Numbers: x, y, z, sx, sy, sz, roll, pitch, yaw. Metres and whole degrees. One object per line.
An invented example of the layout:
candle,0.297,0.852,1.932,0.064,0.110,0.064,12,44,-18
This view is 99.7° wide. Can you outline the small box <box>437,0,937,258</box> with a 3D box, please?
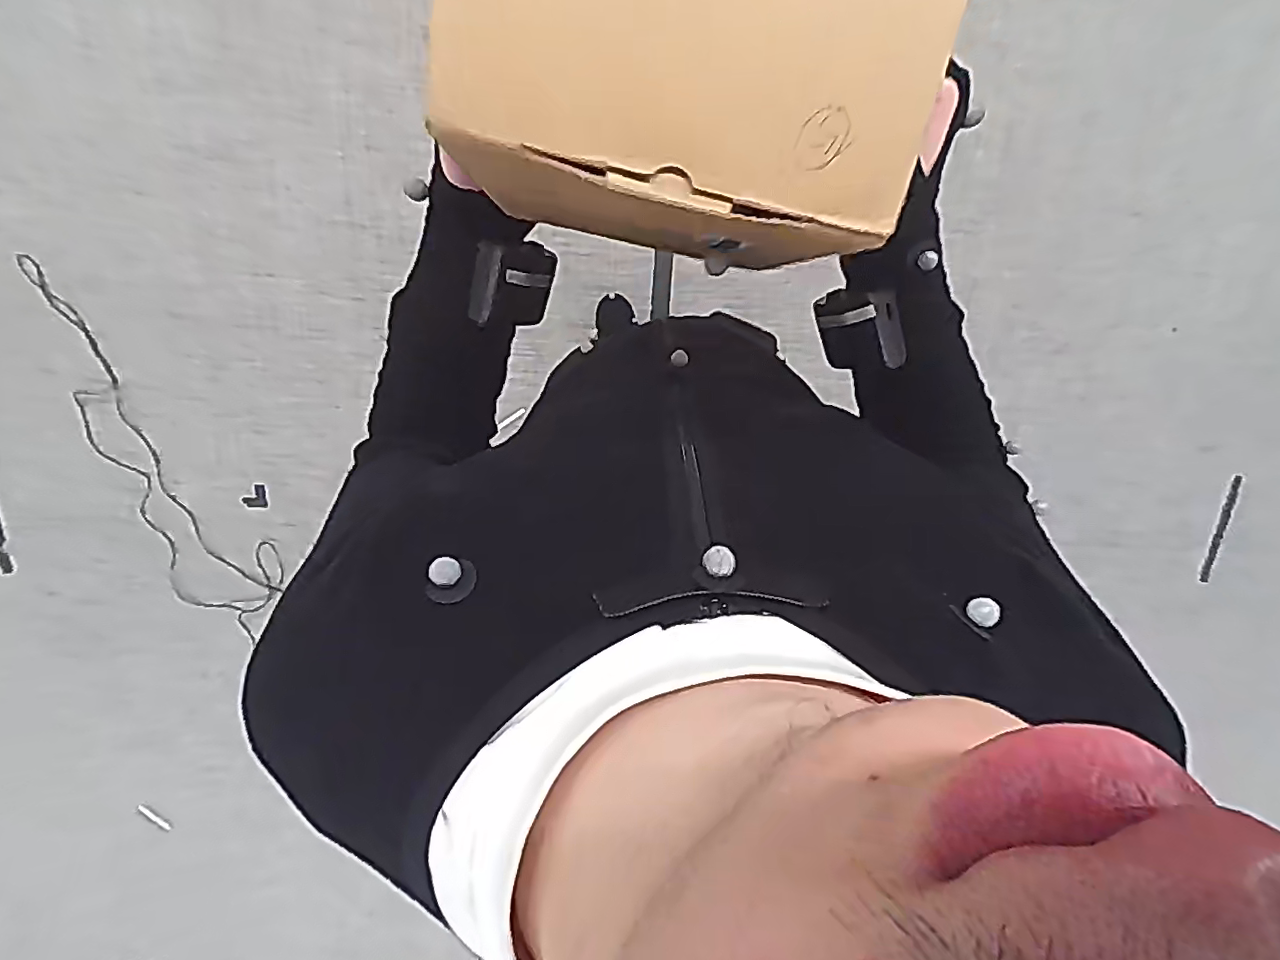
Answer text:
small box,0.017,-0.209,0.248,0.168,0.176,0.179,7,107,-8
